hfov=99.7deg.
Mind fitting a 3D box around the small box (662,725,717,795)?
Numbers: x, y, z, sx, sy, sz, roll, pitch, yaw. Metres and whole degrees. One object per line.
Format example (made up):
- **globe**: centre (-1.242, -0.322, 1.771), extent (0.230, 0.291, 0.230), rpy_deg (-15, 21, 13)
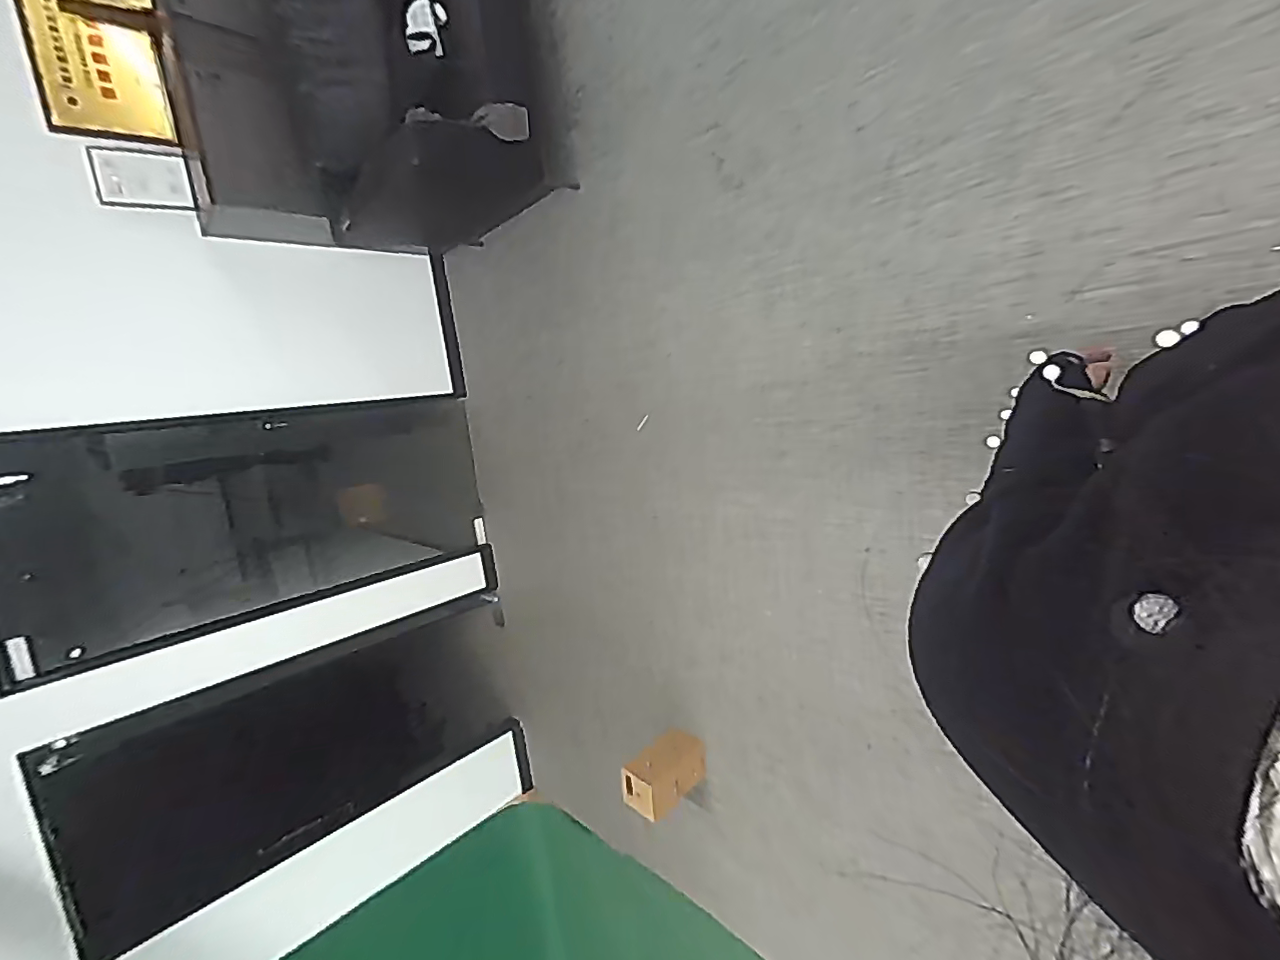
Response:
- **small box**: centre (0.214, 1.187, 2.309), extent (0.179, 0.176, 0.168), rpy_deg (11, 109, 45)
